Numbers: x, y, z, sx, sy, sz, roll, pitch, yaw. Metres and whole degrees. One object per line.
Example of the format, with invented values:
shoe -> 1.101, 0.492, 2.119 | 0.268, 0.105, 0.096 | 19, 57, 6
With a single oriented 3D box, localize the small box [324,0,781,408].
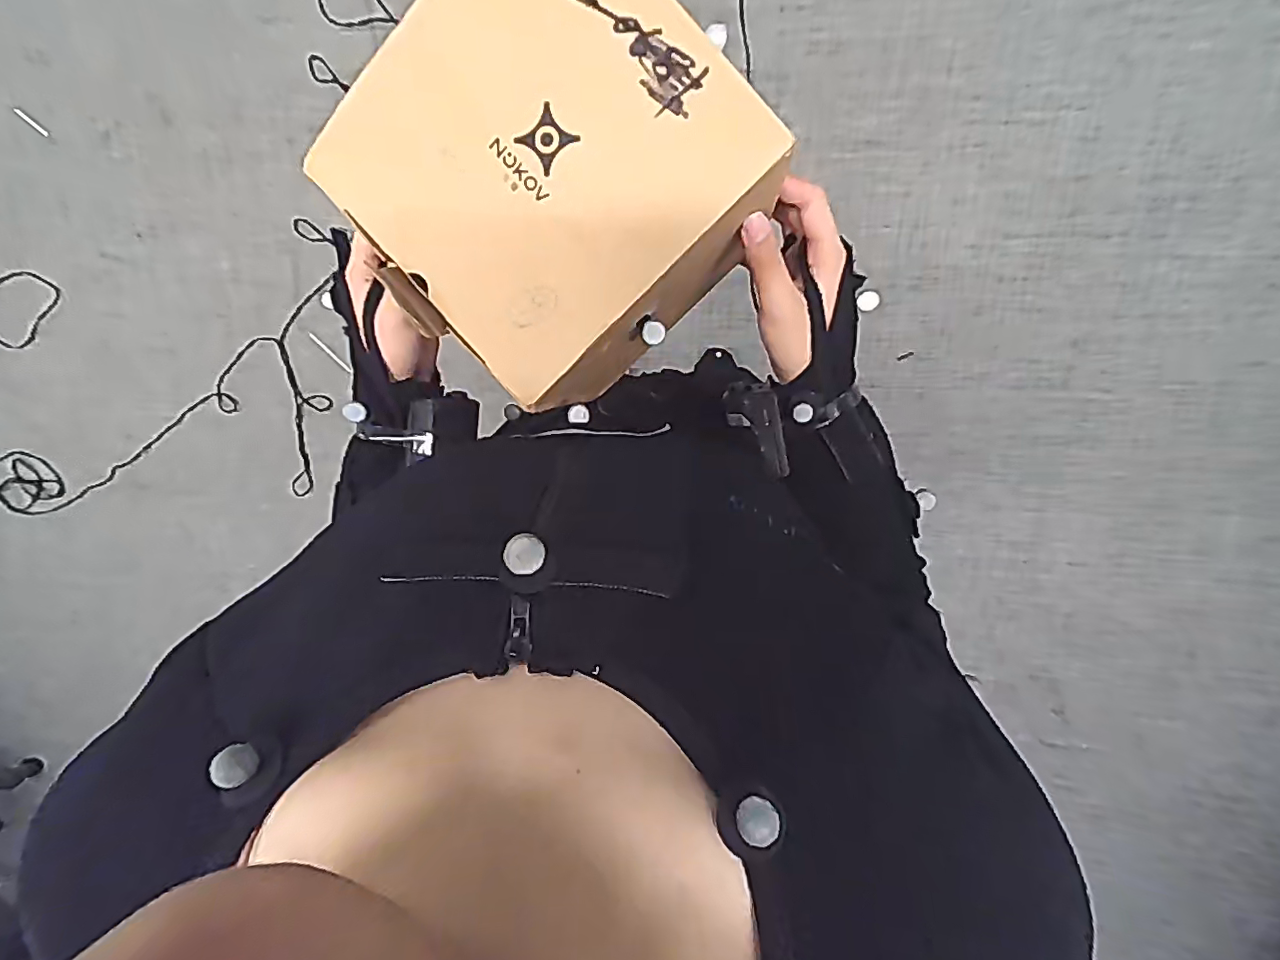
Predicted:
small box -> -0.037, -0.165, 0.338 | 0.179, 0.176, 0.168 | -42, 93, 13
